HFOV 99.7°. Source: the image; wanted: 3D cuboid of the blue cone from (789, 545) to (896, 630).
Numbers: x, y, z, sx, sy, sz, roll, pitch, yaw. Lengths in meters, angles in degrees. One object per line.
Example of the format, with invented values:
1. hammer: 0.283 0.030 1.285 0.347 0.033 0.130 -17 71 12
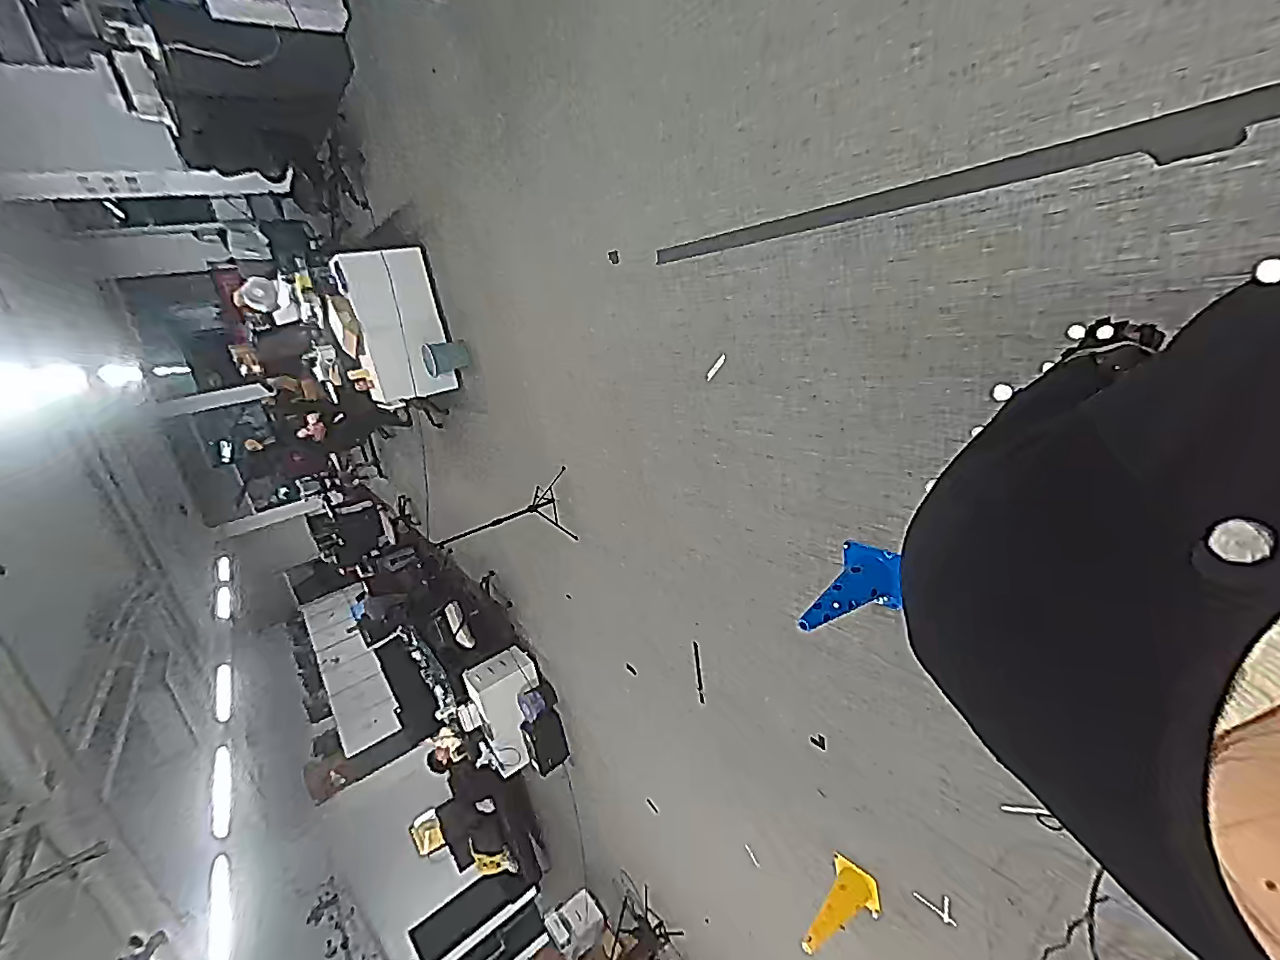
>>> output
1. blue cone: 0.596 0.359 1.641 0.192 0.380 0.193 18 123 52
